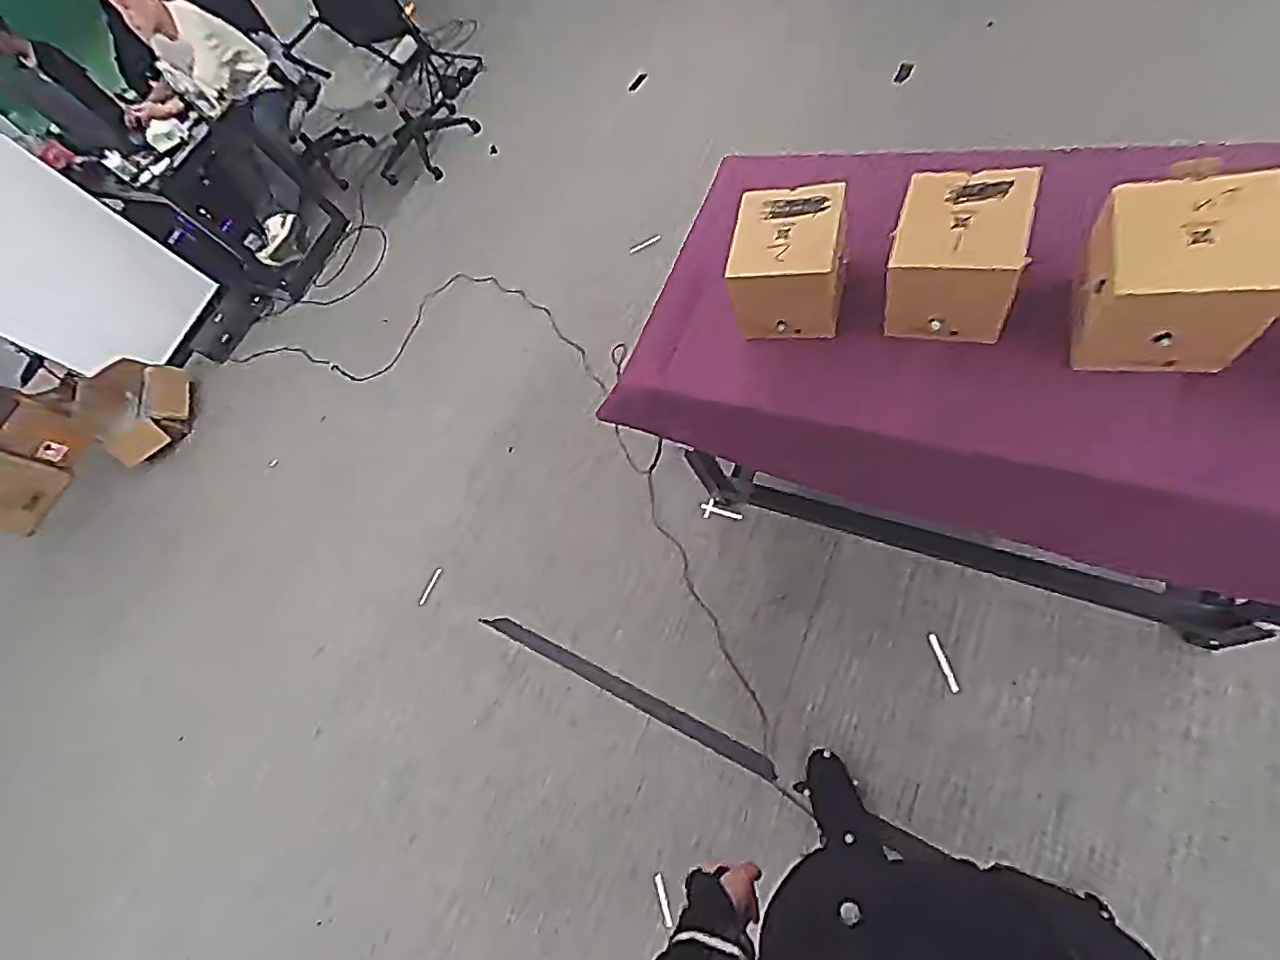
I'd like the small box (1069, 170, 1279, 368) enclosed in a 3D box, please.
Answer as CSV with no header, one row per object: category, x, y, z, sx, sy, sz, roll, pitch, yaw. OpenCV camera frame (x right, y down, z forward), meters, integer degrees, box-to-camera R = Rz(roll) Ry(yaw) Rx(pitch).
small box,0.696,-0.265,0.714,0.168,0.176,0.179,7,70,24

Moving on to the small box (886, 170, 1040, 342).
small box,0.485,-0.340,0.834,0.168,0.176,0.179,13,73,26
